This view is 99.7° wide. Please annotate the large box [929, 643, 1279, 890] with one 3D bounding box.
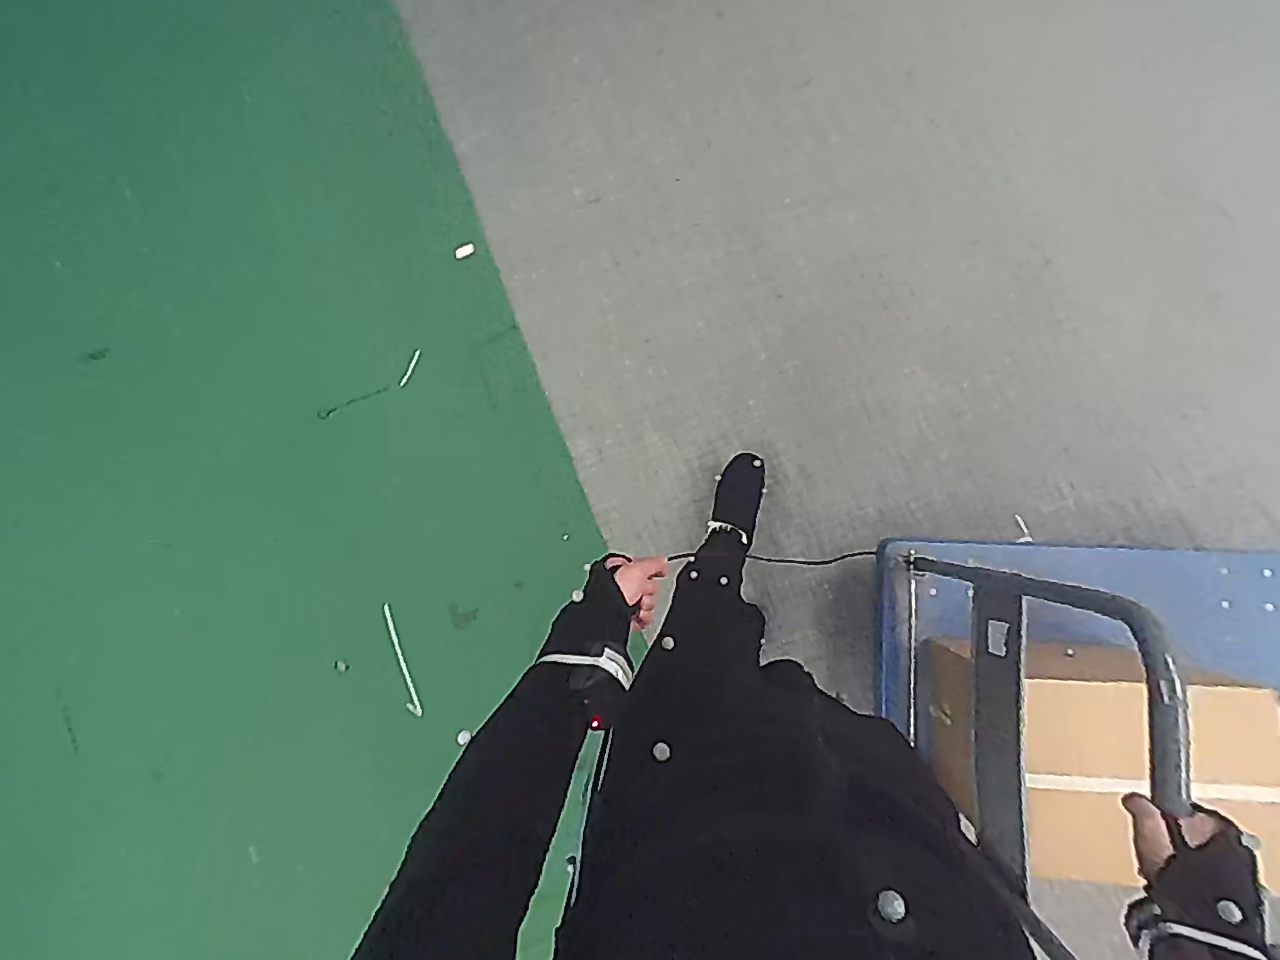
[{"bbox_3d":[0.814,0.492,1.008,0.408,0.320,0.320,1,86,6],"label":"large box"}]
